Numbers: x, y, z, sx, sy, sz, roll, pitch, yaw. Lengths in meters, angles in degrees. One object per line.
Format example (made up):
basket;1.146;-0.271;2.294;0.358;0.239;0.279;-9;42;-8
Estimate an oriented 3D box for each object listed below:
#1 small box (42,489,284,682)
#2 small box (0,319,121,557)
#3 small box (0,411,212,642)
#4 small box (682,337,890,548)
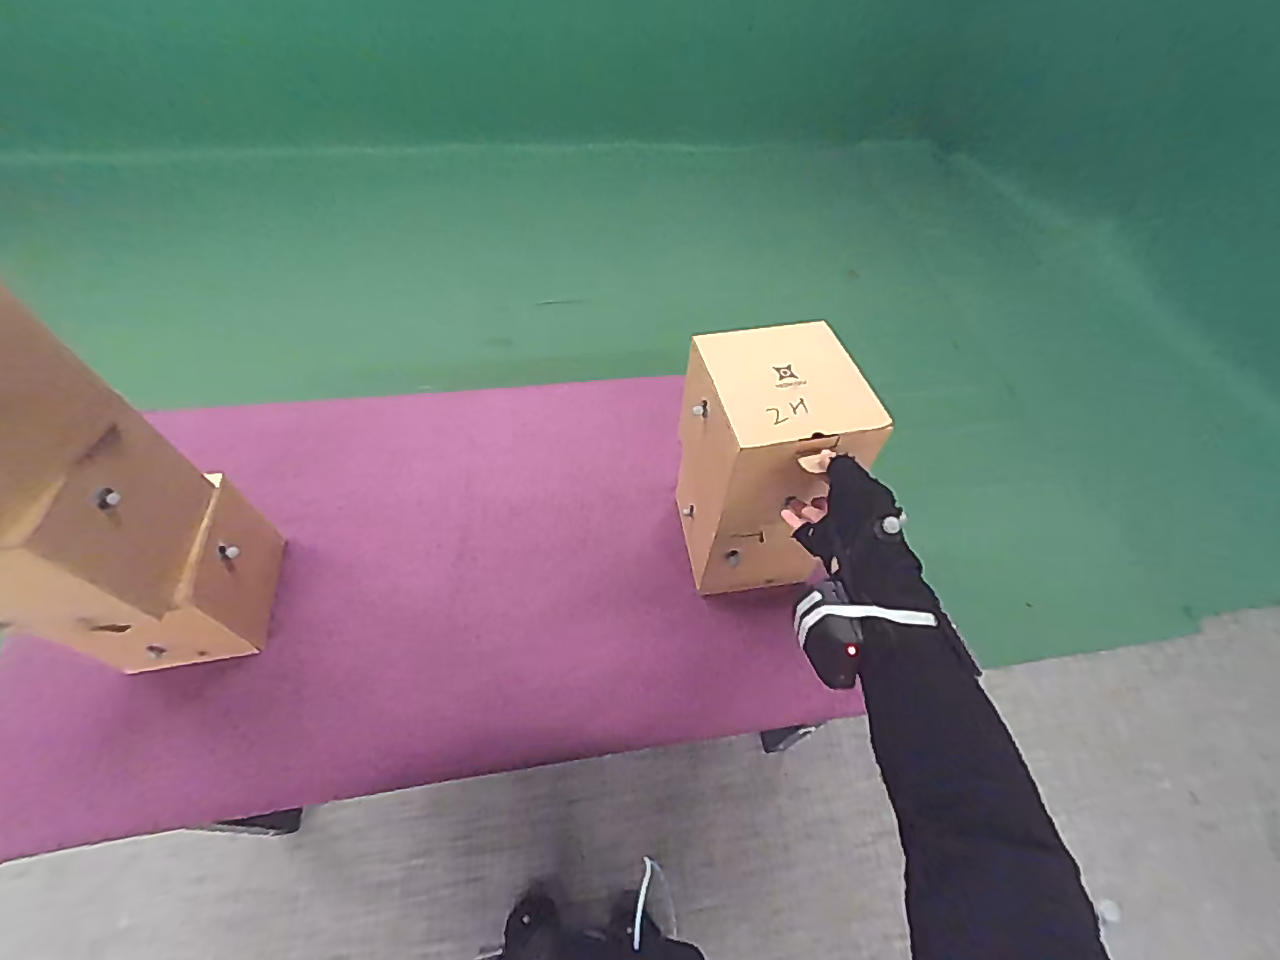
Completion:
small box;-0.585;0.135;0.685;0.168;0.176;0.179;-7;56;-9
small box;-0.574;-0.044;0.410;0.168;0.176;0.179;11;56;3
small box;-0.583;0.053;0.542;0.168;0.176;0.179;-3;54;-6
small box;0.154;-0.043;0.646;0.168;0.176;0.179;-9;55;-9
